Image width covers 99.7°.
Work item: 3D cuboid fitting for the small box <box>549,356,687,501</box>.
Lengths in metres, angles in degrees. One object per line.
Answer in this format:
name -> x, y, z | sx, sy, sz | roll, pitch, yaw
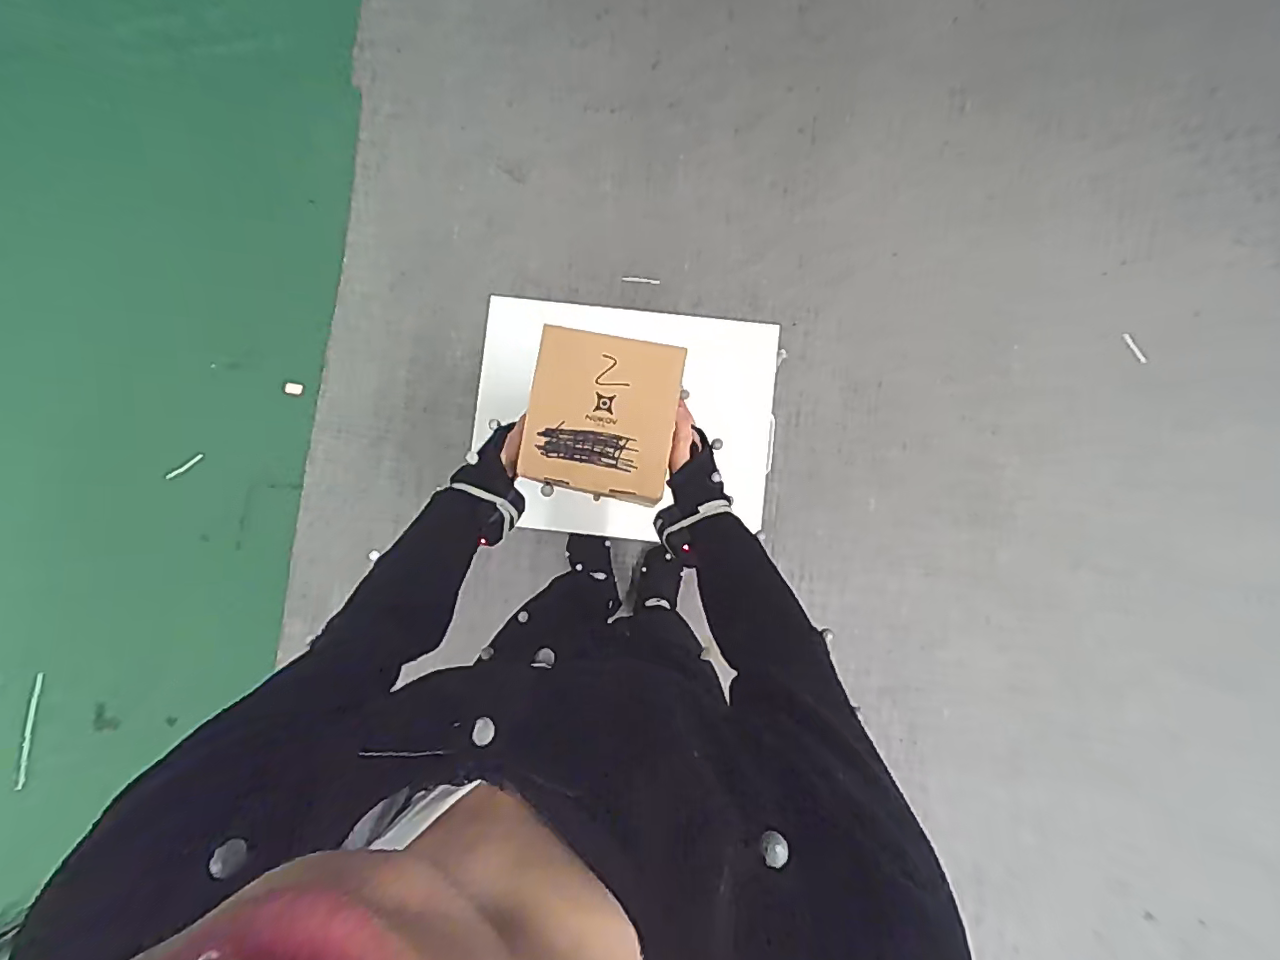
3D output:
small box -> -0.032, -0.070, 0.836 | 0.168, 0.176, 0.179 | 12, 87, 1
